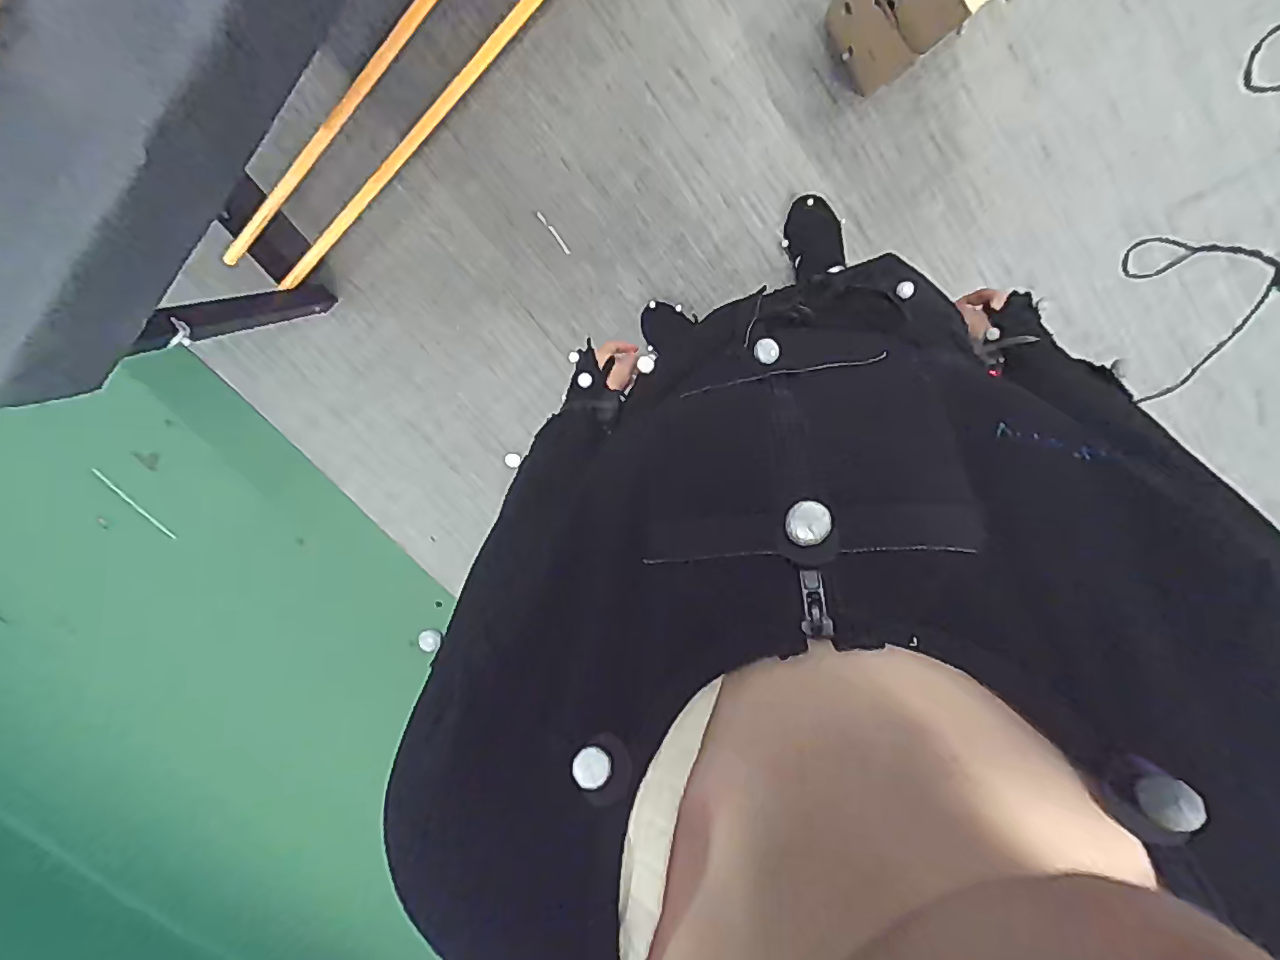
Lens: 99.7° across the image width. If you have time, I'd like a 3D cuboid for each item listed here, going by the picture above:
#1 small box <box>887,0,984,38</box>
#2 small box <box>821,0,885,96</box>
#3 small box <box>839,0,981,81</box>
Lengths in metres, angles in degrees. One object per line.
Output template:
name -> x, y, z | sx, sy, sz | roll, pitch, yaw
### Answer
small box -> 0.382, -0.662, 0.625 | 0.168, 0.176, 0.179 | -34, 107, 20
small box -> 0.435, -0.803, 0.917 | 0.179, 0.176, 0.168 | -33, 105, 20
small box -> 0.405, -0.725, 0.776 | 0.179, 0.176, 0.168 | -36, 105, 21
